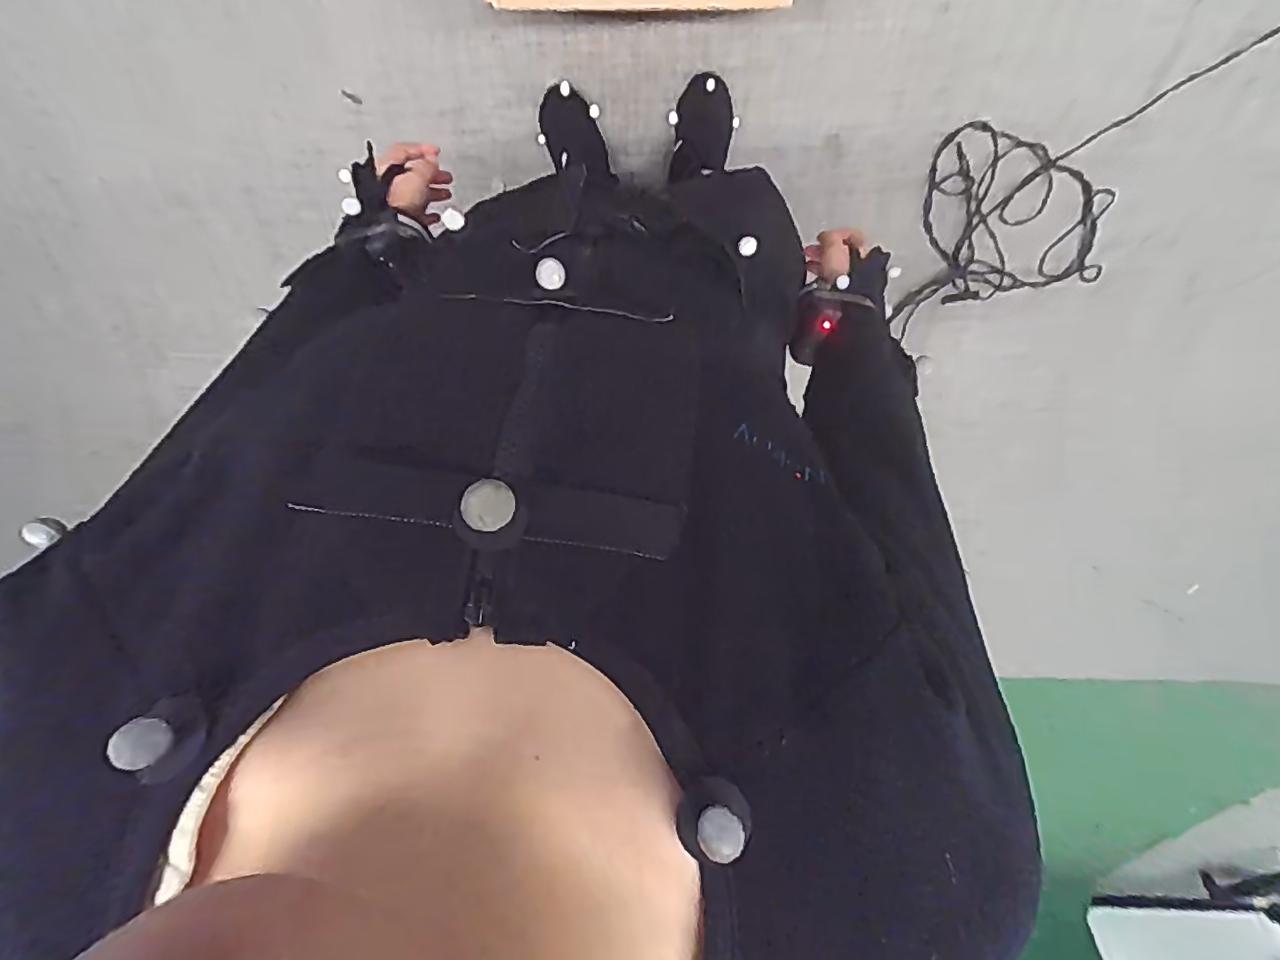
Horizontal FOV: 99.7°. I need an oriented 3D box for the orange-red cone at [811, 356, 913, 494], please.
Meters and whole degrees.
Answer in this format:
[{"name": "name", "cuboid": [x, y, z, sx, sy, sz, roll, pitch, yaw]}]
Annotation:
[{"name": "orange-red cone", "cuboid": [0.557, -0.100, 1.254, 0.199, 0.360, 0.198, 15, 130, -11]}]
